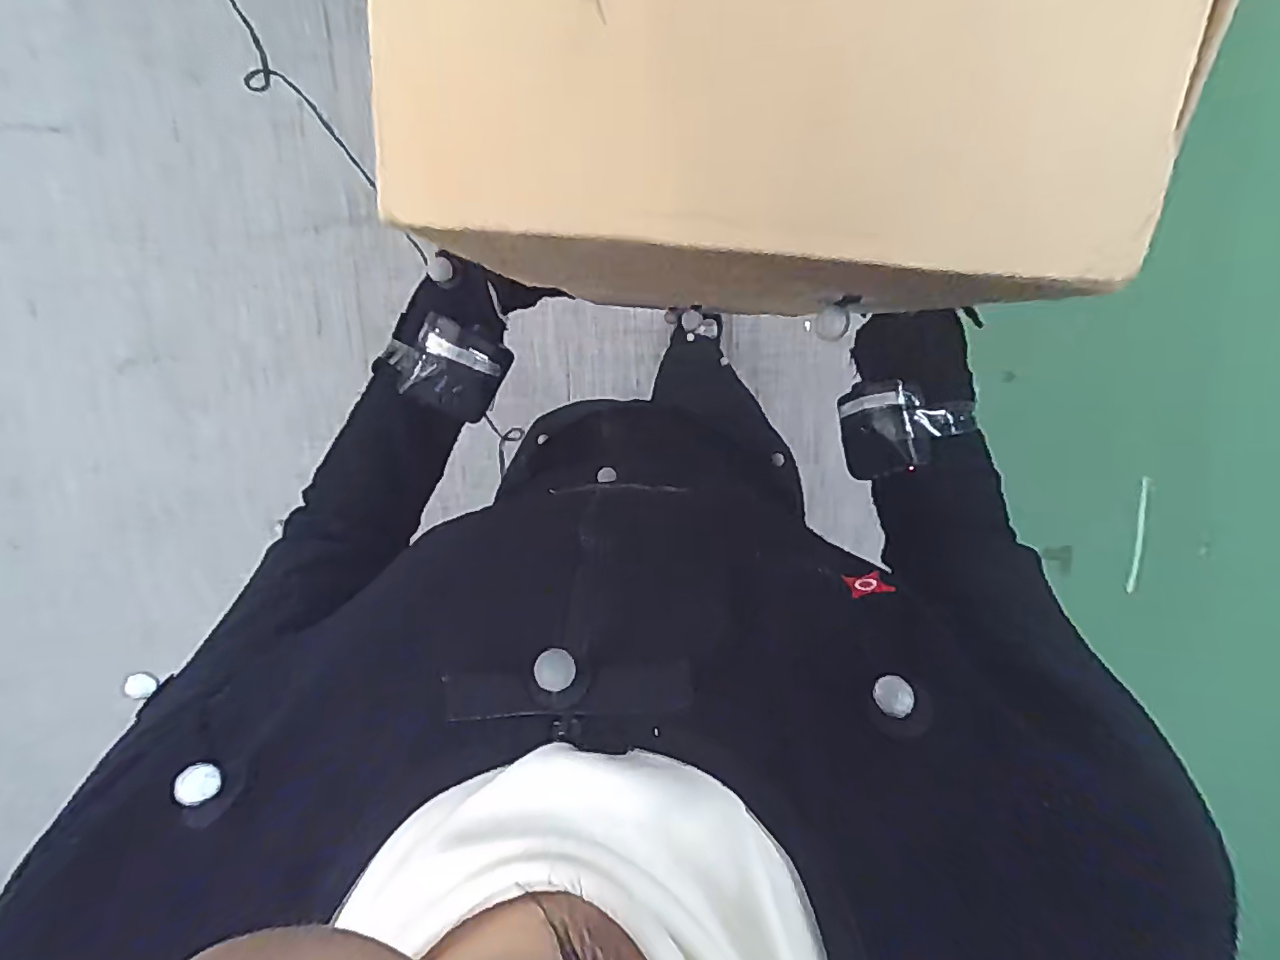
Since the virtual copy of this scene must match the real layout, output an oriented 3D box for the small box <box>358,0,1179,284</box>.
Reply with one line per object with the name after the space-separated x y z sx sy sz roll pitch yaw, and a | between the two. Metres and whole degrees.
0.031 -0.162 0.180 0.179 0.176 0.168 4 105 0 | small box
